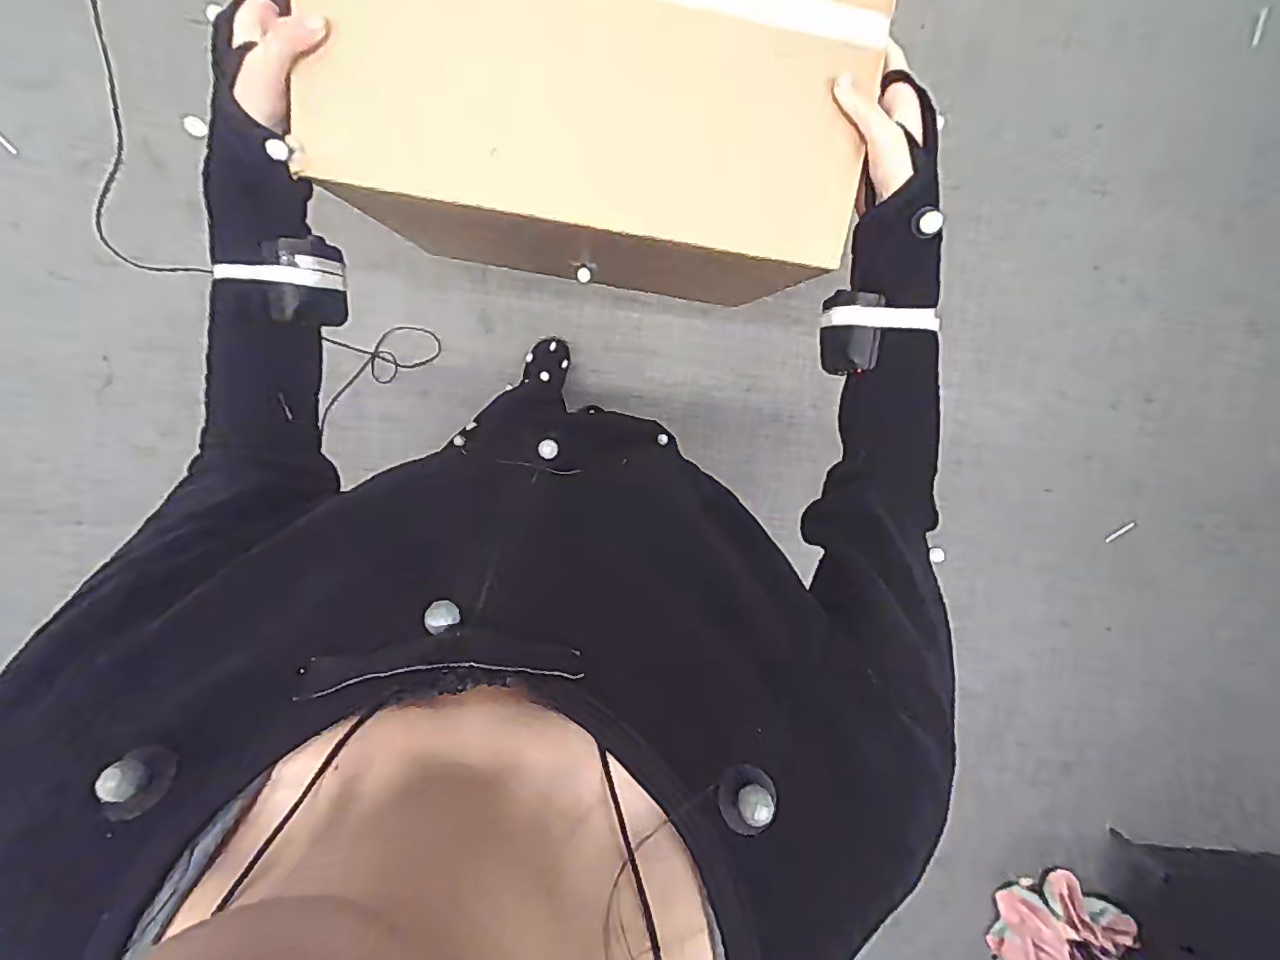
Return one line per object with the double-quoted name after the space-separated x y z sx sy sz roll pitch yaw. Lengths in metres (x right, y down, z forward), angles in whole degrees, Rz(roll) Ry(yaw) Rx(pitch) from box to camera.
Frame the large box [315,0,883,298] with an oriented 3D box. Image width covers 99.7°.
-0.031 -0.376 0.531 0.408 0.320 0.320 8 102 -6 "large box"
